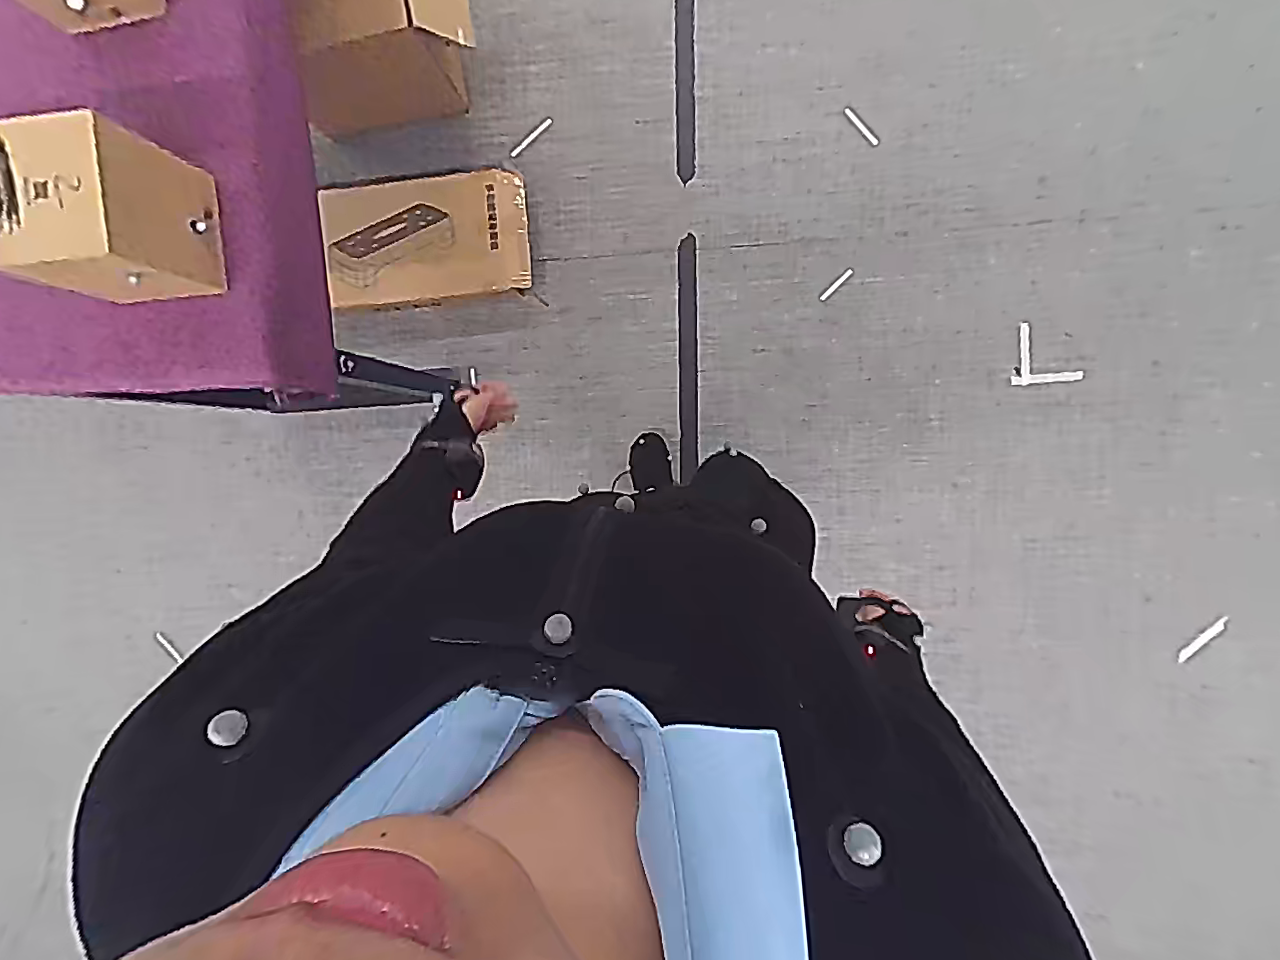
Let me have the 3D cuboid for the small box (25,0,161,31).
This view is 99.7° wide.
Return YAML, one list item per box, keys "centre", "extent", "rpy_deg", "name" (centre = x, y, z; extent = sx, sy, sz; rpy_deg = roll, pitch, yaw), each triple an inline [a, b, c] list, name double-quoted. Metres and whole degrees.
- centre: [-0.765, -0.730, 0.685]
  extent: [0.168, 0.176, 0.179]
  rpy_deg: [-4, 94, 8]
  name: "small box"
